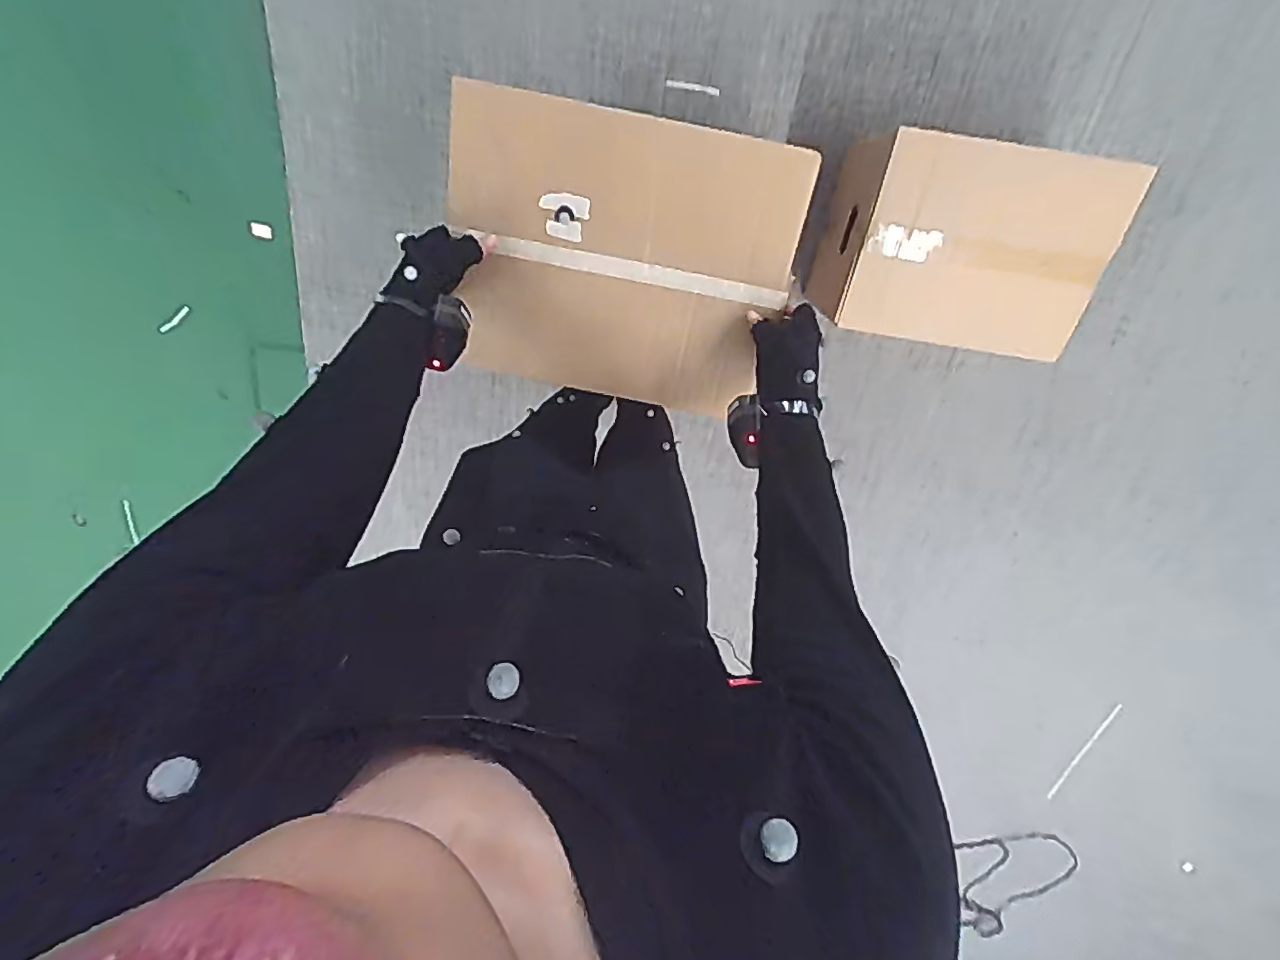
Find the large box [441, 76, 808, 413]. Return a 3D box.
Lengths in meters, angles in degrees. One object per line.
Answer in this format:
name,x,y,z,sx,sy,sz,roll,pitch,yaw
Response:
large box,-0.025,-0.324,0.771,0.408,0.320,0.320,12,116,-1
